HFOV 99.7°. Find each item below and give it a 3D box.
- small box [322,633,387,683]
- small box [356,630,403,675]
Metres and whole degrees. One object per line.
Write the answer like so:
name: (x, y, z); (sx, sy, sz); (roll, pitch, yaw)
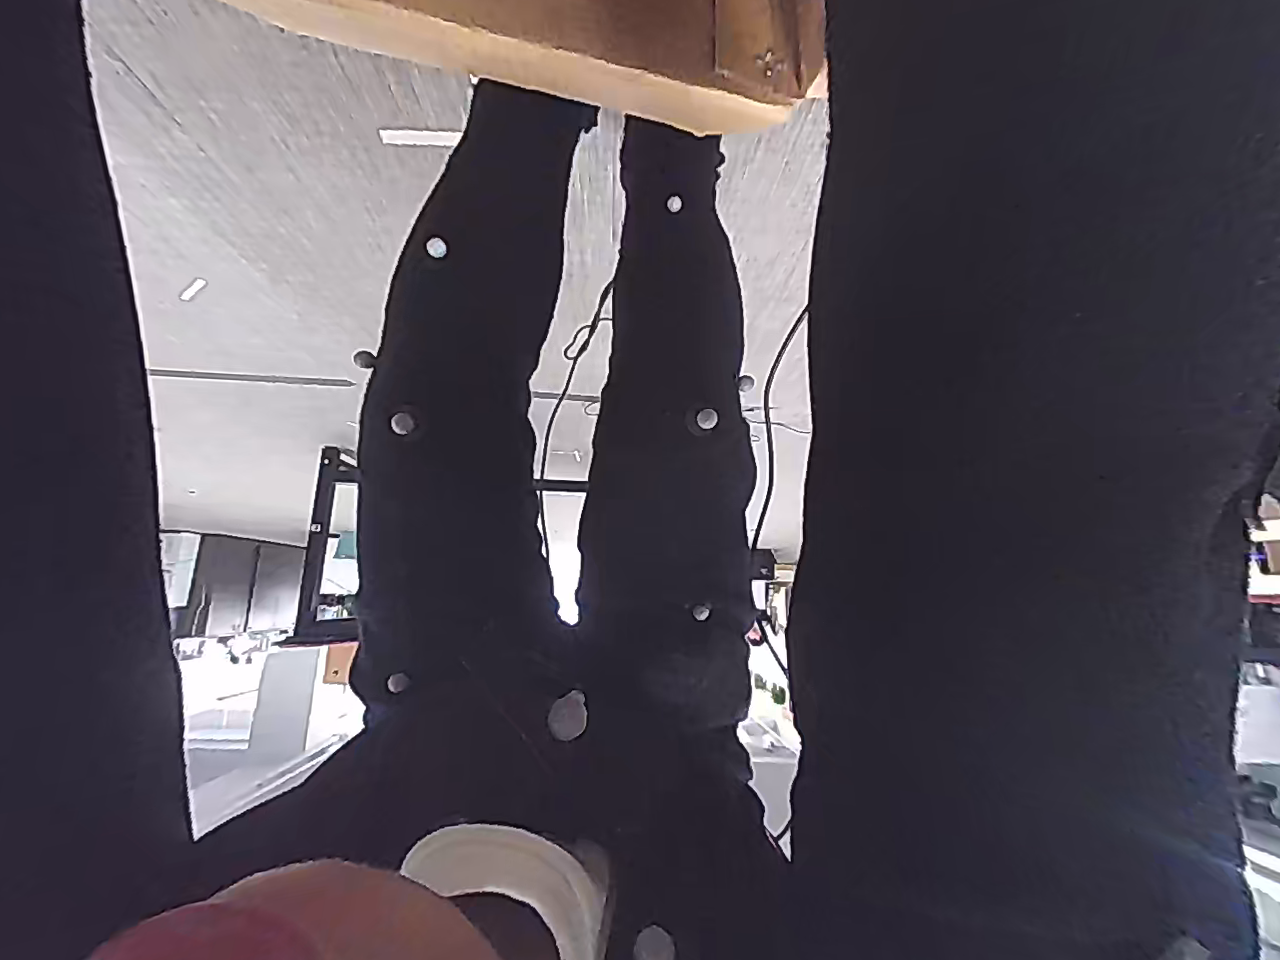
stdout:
small box: (-1.125, 0.700, 2.143); (0.179, 0.176, 0.168); (2, 170, -5)
small box: (-1.137, 0.742, 2.338); (0.179, 0.176, 0.168); (5, 166, -9)
